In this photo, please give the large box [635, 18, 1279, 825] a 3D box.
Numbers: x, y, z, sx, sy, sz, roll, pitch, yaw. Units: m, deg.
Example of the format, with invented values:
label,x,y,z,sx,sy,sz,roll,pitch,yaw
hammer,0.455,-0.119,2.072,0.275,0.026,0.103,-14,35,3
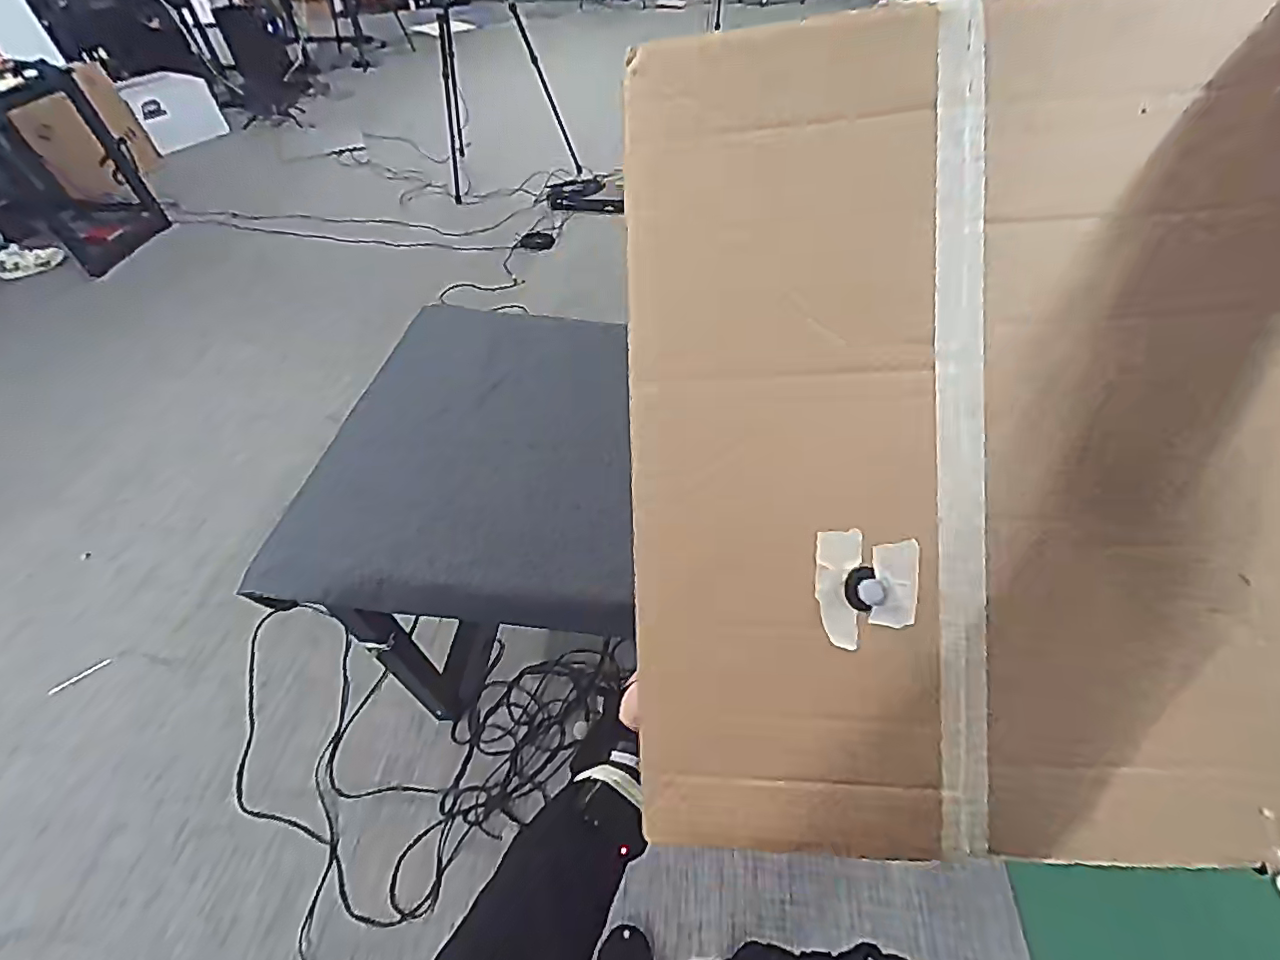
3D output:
label,x,y,z,sx,sy,sz,roll,pitch,yaw
large box,0.173,-0.027,0.427,0.320,0.320,0.408,-2,94,6
